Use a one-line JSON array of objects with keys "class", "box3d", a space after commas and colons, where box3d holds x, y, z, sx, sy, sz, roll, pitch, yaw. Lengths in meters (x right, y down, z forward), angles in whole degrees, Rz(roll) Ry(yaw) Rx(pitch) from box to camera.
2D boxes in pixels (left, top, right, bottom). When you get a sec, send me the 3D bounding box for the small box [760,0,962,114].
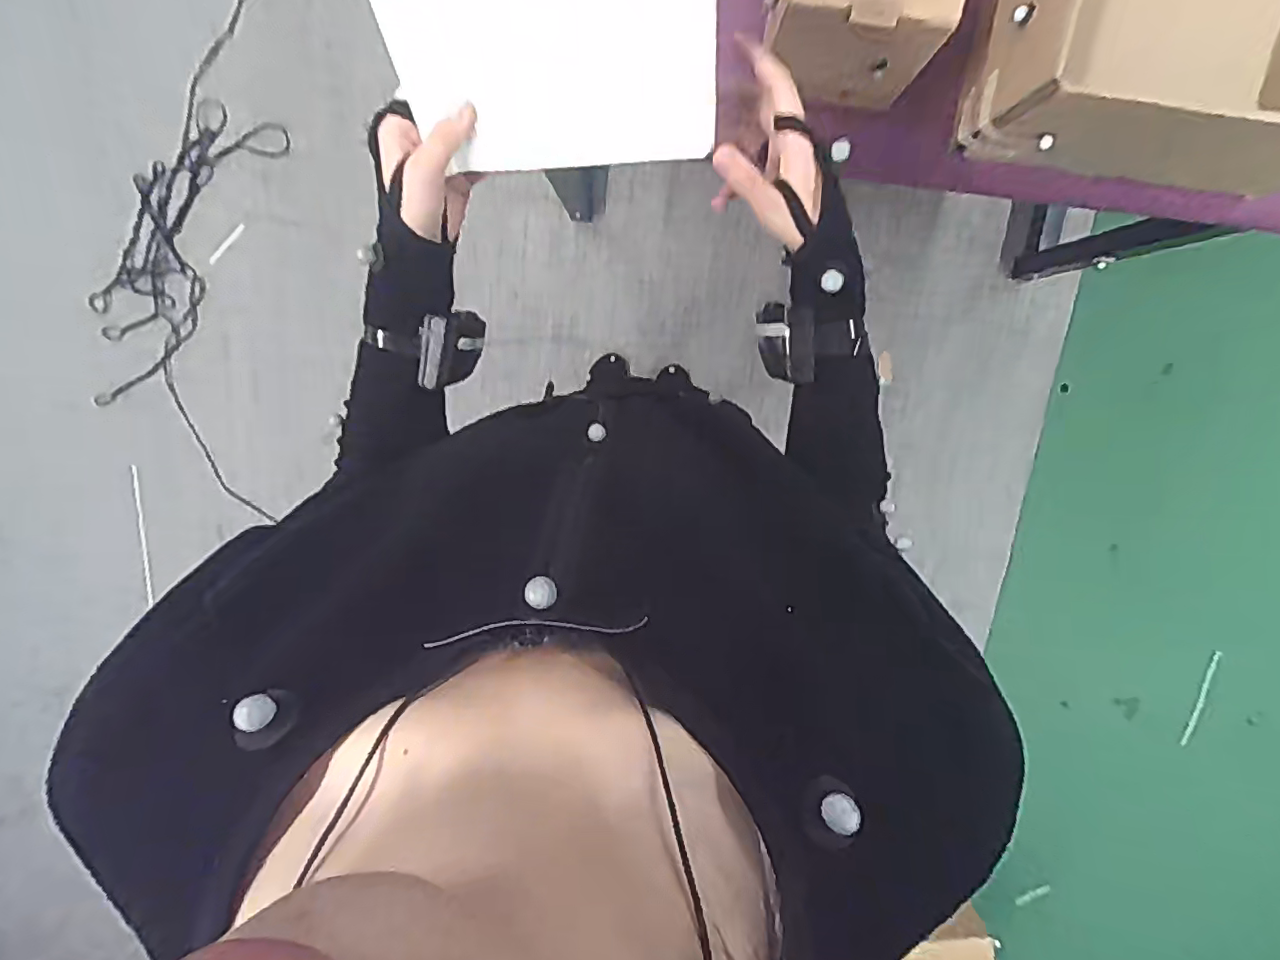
[{"class": "small box", "box3d": [0.232, -0.528, 0.577, 0.168, 0.176, 0.179, 8, 100, 0]}]
